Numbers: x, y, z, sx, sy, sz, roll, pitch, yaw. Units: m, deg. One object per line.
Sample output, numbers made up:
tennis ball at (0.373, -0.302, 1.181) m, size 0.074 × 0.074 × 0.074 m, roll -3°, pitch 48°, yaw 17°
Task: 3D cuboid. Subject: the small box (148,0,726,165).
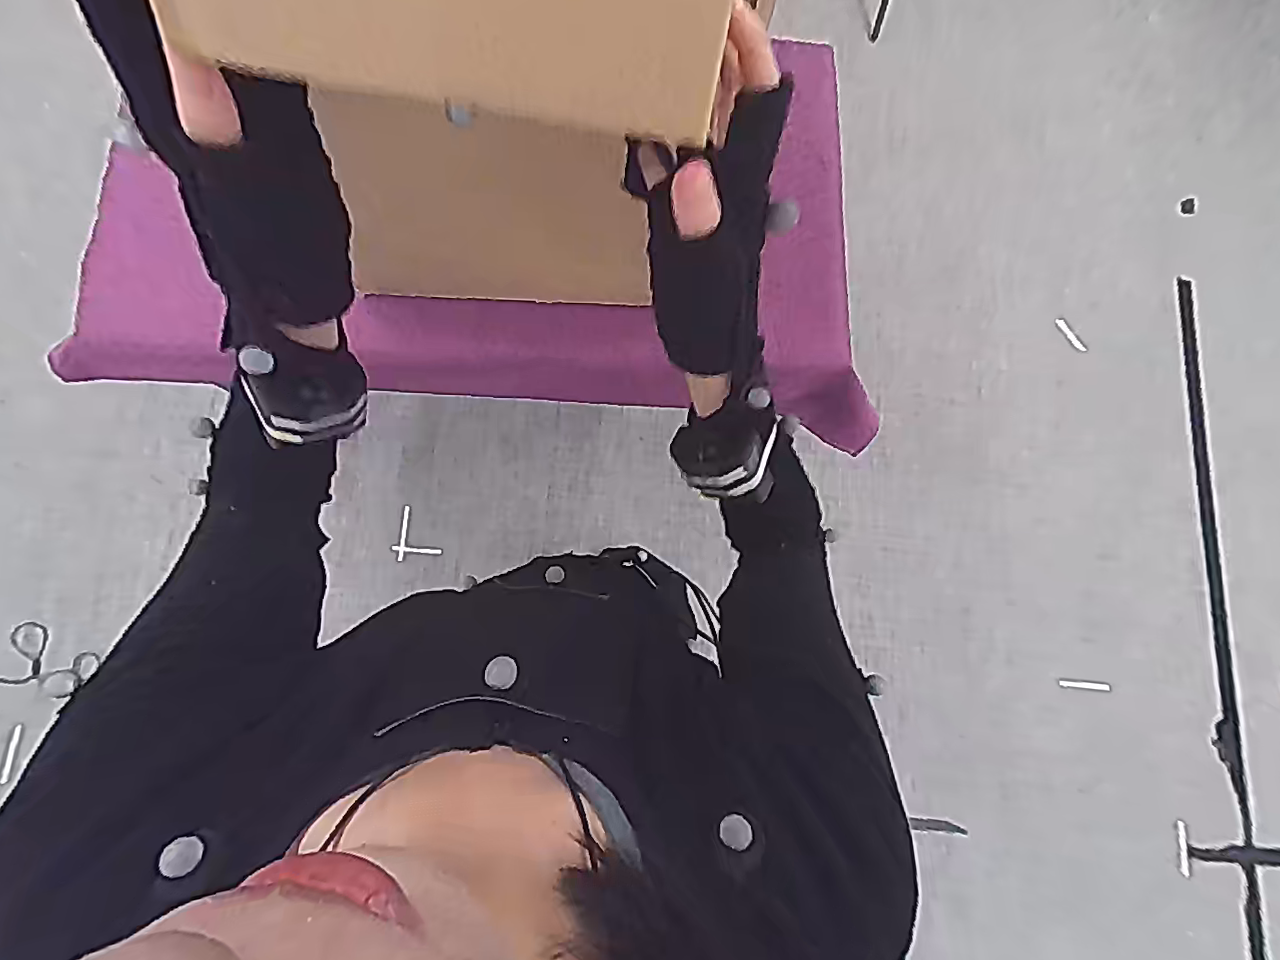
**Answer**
small box at (-0.058, -0.237, 0.193) m, size 0.179 × 0.168 × 0.176 m, roll 3°, pitch 43°, yaw -10°
